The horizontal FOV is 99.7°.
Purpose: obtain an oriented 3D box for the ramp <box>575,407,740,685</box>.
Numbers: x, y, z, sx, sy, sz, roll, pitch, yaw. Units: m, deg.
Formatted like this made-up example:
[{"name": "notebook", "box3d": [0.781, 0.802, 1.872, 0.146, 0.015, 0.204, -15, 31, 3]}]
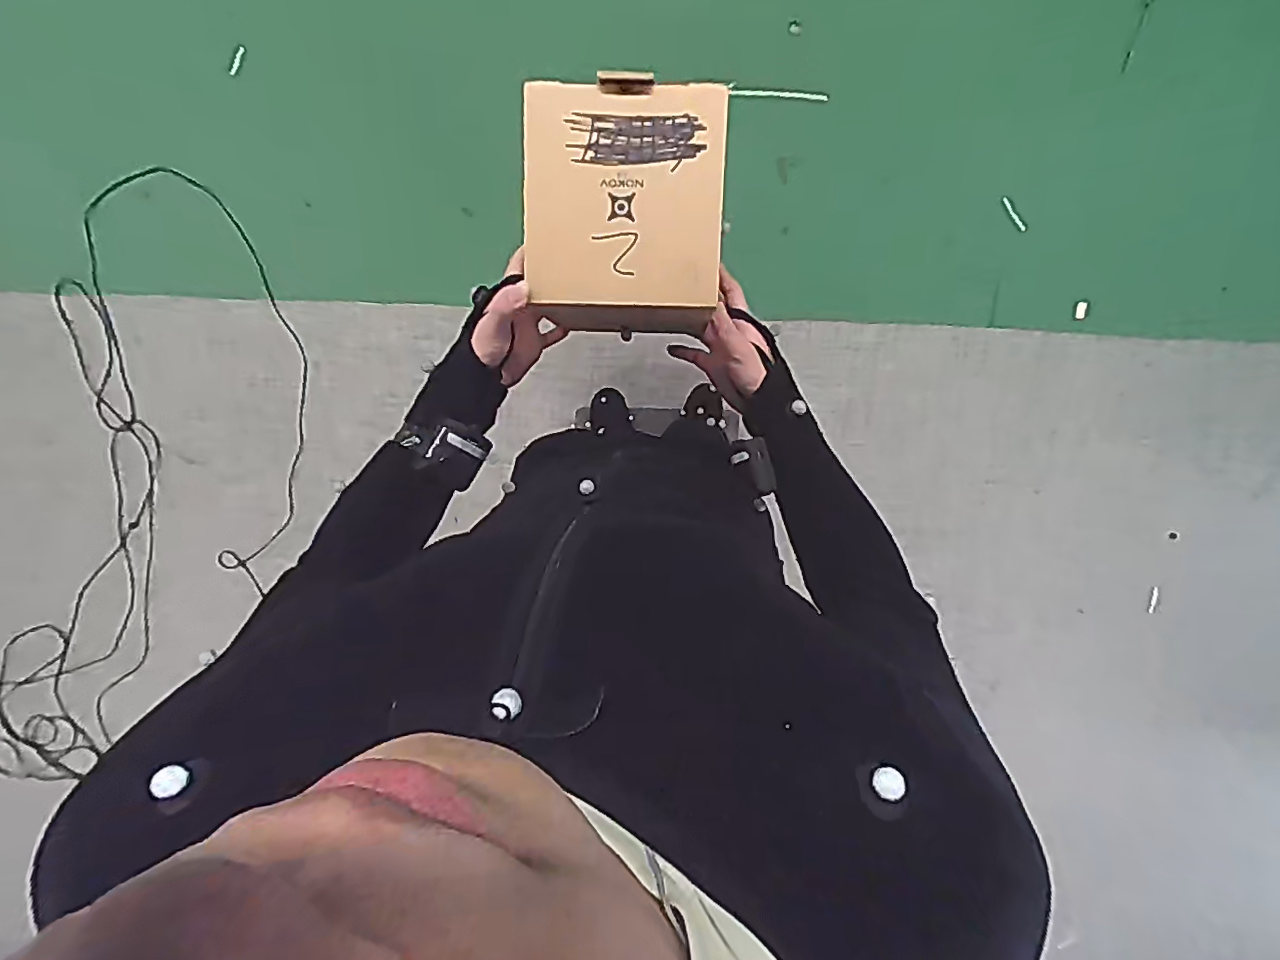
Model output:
[{"name": "ramp", "box3d": [0.044, 0.259, 1.757, 0.509, 0.206, 0.991, 0, 100, 0]}]
